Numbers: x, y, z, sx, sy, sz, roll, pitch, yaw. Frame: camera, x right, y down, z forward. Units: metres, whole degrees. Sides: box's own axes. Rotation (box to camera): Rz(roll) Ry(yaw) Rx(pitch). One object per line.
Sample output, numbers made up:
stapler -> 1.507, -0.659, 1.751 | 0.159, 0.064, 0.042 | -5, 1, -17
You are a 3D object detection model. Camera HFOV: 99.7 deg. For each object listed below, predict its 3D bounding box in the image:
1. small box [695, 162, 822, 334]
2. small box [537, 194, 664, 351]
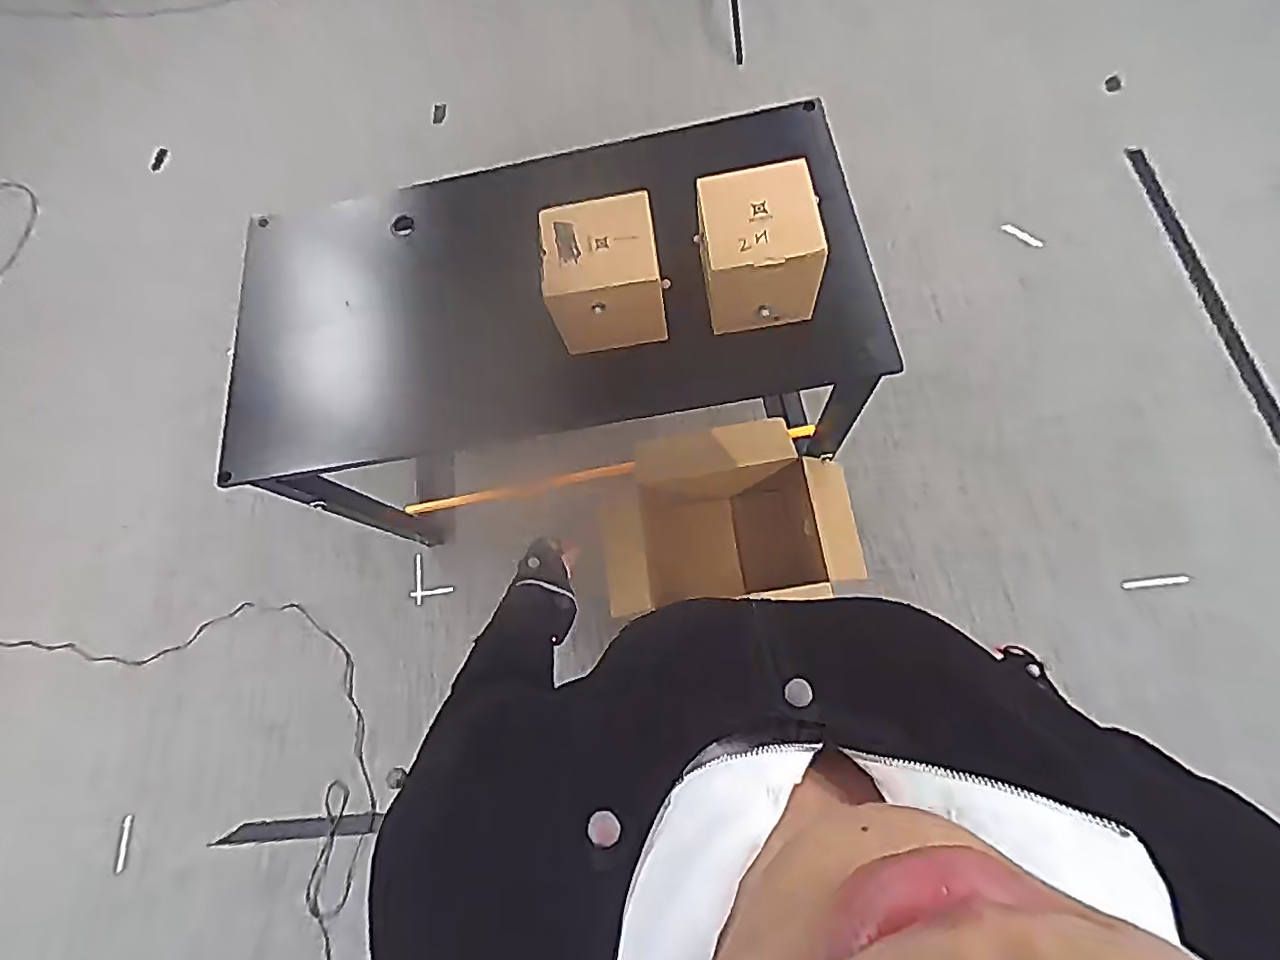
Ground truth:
small box -> 0.181, -0.364, 0.870 | 0.168, 0.176, 0.179 | -8, 72, 7
small box -> -0.061, -0.330, 0.894 | 0.179, 0.176, 0.168 | -7, 72, 5
